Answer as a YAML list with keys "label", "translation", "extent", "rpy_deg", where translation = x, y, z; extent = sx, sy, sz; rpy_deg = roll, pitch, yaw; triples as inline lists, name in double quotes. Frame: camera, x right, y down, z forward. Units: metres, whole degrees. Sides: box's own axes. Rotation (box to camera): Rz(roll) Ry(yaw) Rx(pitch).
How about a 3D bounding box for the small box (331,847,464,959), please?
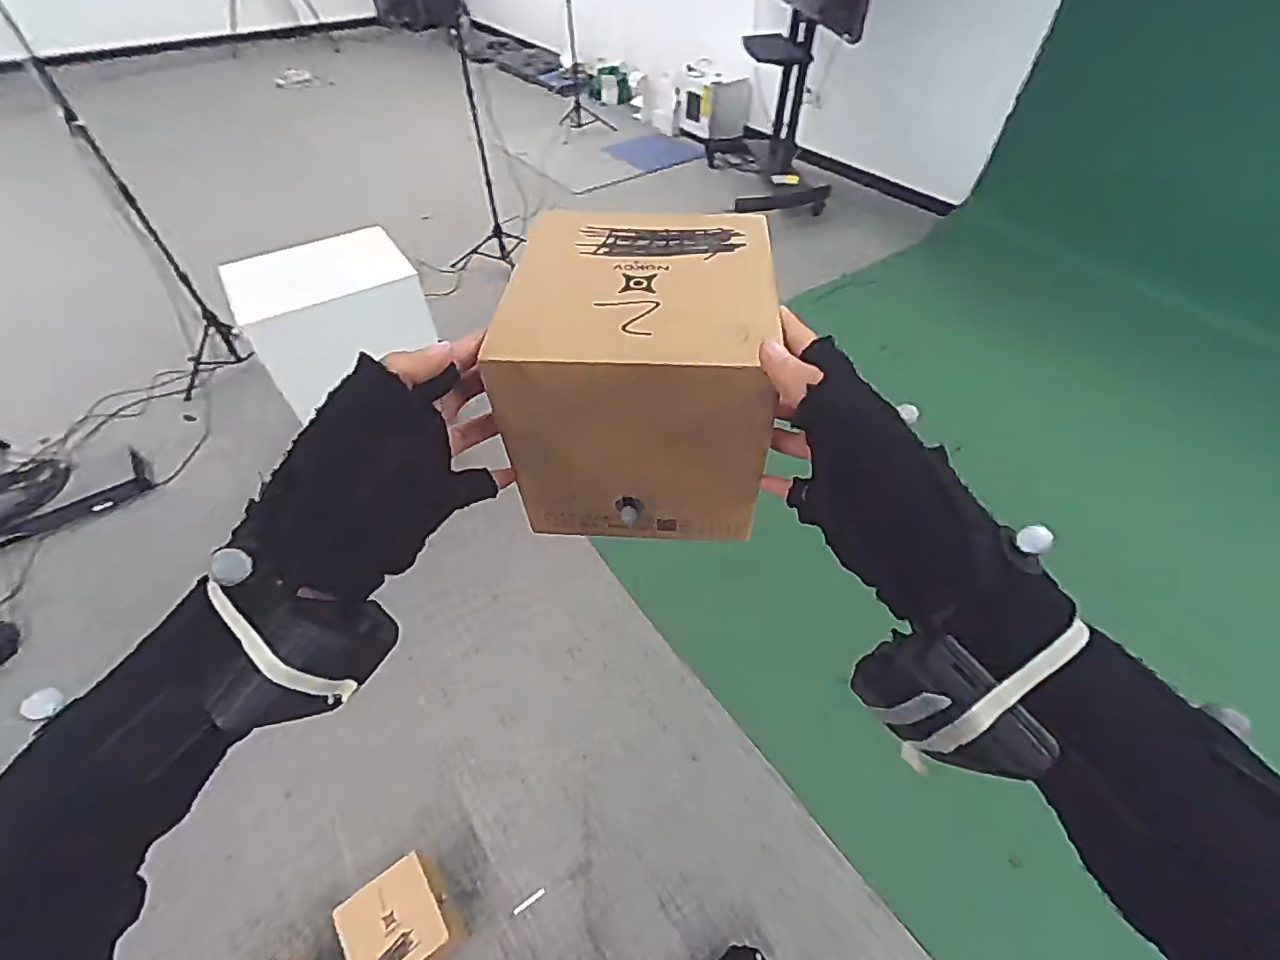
- label: "small box"
  translation: [-0.473, 0.877, 1.074]
  extent: [0.168, 0.176, 0.179]
  rpy_deg: [-29, 55, -23]

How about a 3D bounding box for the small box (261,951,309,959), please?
- label: "small box"
  translation: [-0.685, 1.000, 0.969]
  extent: [0.168, 0.176, 0.179]
  rpy_deg: [-29, 55, -23]
